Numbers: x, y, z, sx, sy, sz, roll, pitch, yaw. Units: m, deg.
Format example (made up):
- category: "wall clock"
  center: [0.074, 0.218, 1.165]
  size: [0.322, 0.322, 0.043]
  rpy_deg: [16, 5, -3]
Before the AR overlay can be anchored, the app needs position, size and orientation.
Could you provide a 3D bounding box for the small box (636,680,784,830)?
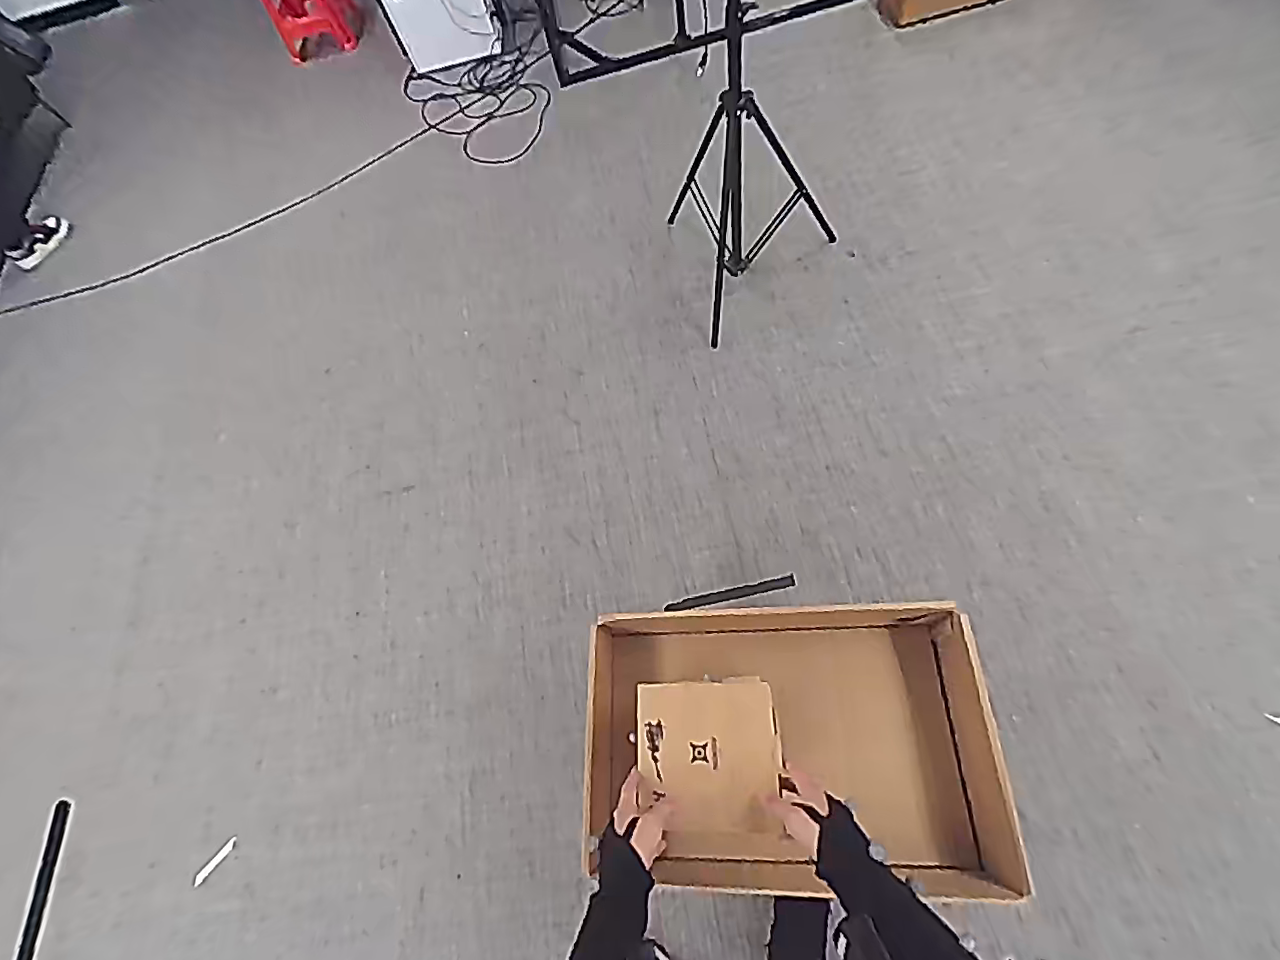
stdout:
- category: "small box"
  center: [0.094, 0.365, 0.740]
  size: [0.179, 0.176, 0.168]
  rpy_deg: [-4, 66, 9]
